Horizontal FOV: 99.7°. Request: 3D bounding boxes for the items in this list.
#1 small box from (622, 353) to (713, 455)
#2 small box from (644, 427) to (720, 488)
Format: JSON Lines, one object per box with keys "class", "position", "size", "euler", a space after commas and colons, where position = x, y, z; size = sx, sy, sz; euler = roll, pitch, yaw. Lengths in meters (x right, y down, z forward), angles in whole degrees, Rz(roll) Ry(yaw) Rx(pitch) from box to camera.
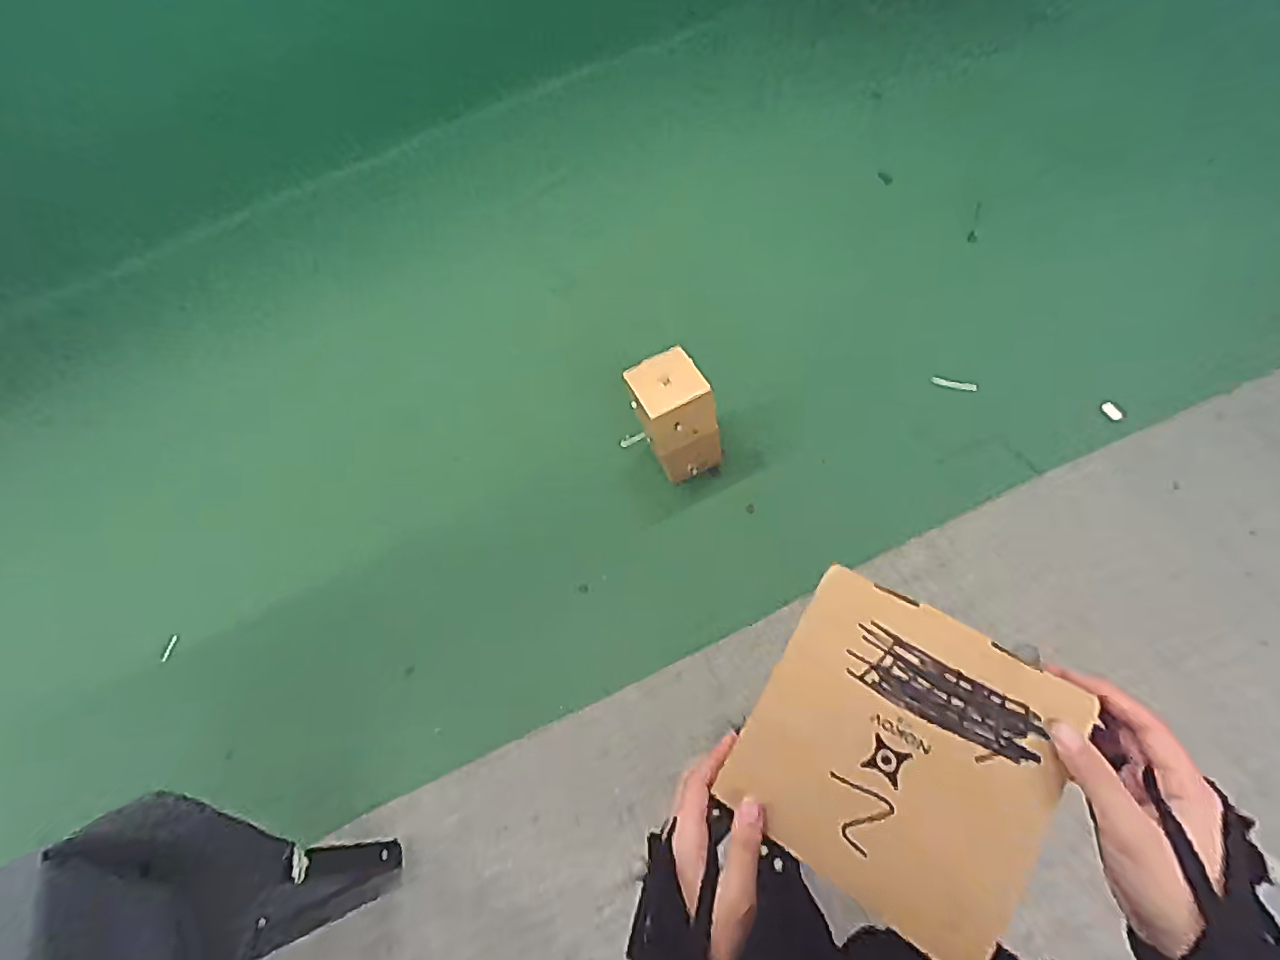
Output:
{"class": "small box", "position": [0.077, -0.187, 1.396], "size": [0.168, 0.176, 0.179], "euler": [-27, 56, -4]}
{"class": "small box", "position": [0.114, -0.110, 1.535], "size": [0.168, 0.176, 0.179], "euler": [-26, 58, -3]}
